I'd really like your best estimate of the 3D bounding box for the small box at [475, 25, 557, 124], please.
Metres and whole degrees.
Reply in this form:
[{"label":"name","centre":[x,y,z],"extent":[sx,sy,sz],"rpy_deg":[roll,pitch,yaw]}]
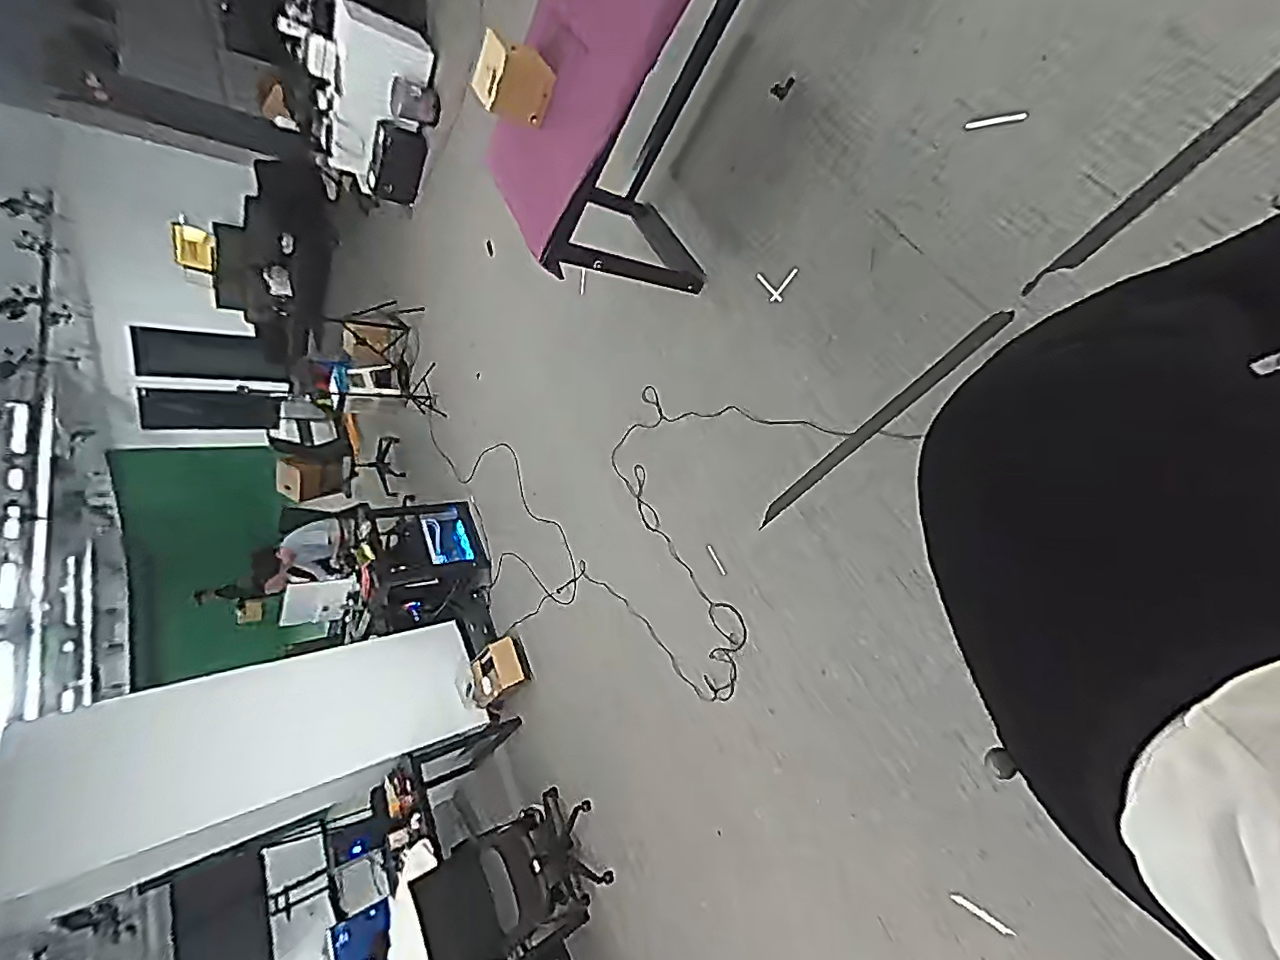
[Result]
[{"label":"small box","centre":[-0.375,-1.224,1.646],"extent":[0.168,0.176,0.179],"rpy_deg":[-51,57,39]}]
